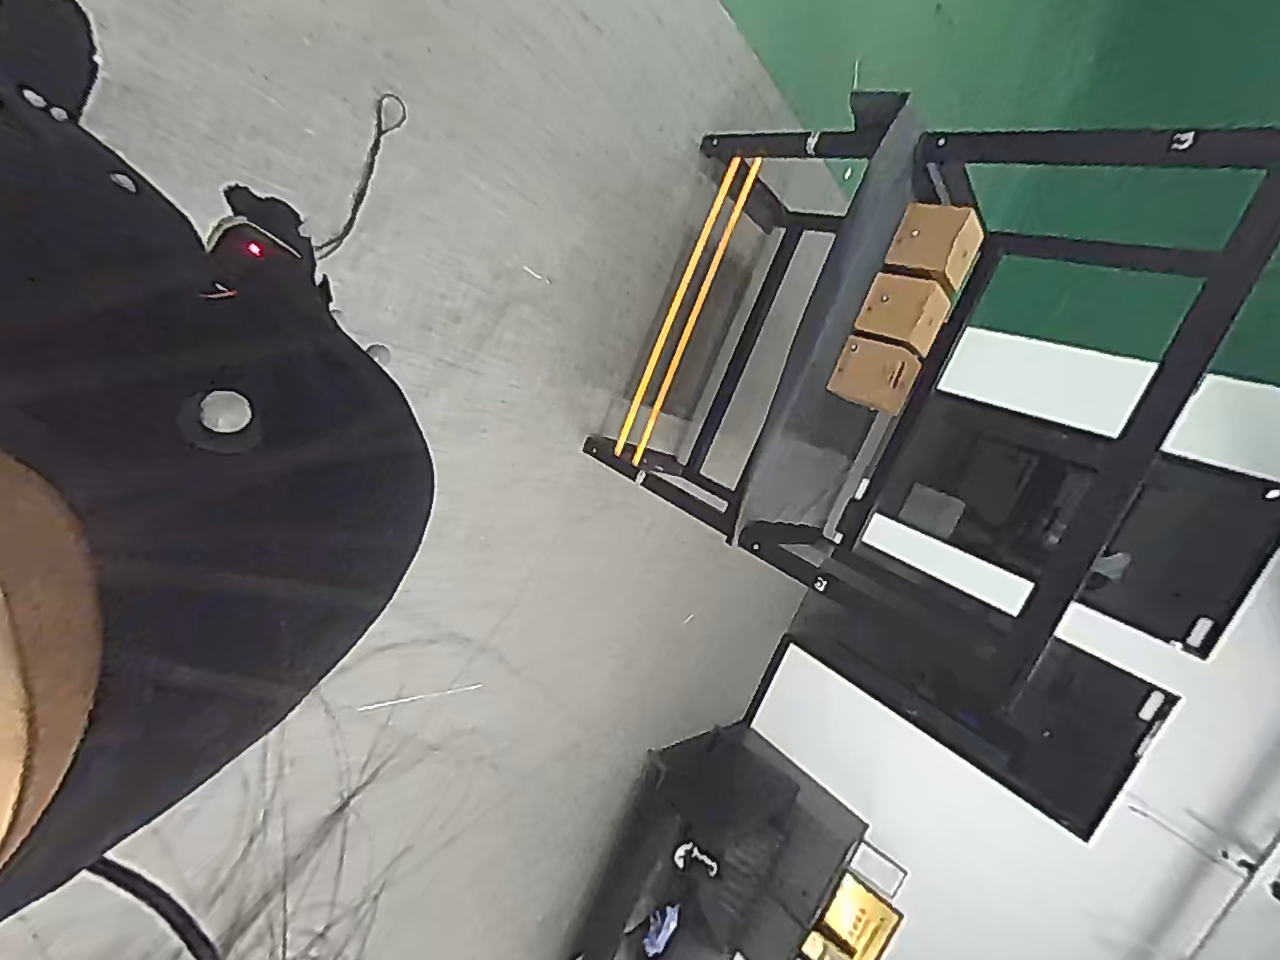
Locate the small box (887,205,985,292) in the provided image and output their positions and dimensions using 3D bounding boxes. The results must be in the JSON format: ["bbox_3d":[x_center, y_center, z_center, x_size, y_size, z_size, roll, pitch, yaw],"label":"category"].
[{"bbox_3d":[0.821,-0.647,1.505,0.179,0.176,0.168,8,107,-49],"label":"small box"}]

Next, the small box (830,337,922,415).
[{"bbox_3d":[0.684,-0.305,1.575,0.179,0.176,0.168,8,107,-50],"label":"small box"}]
